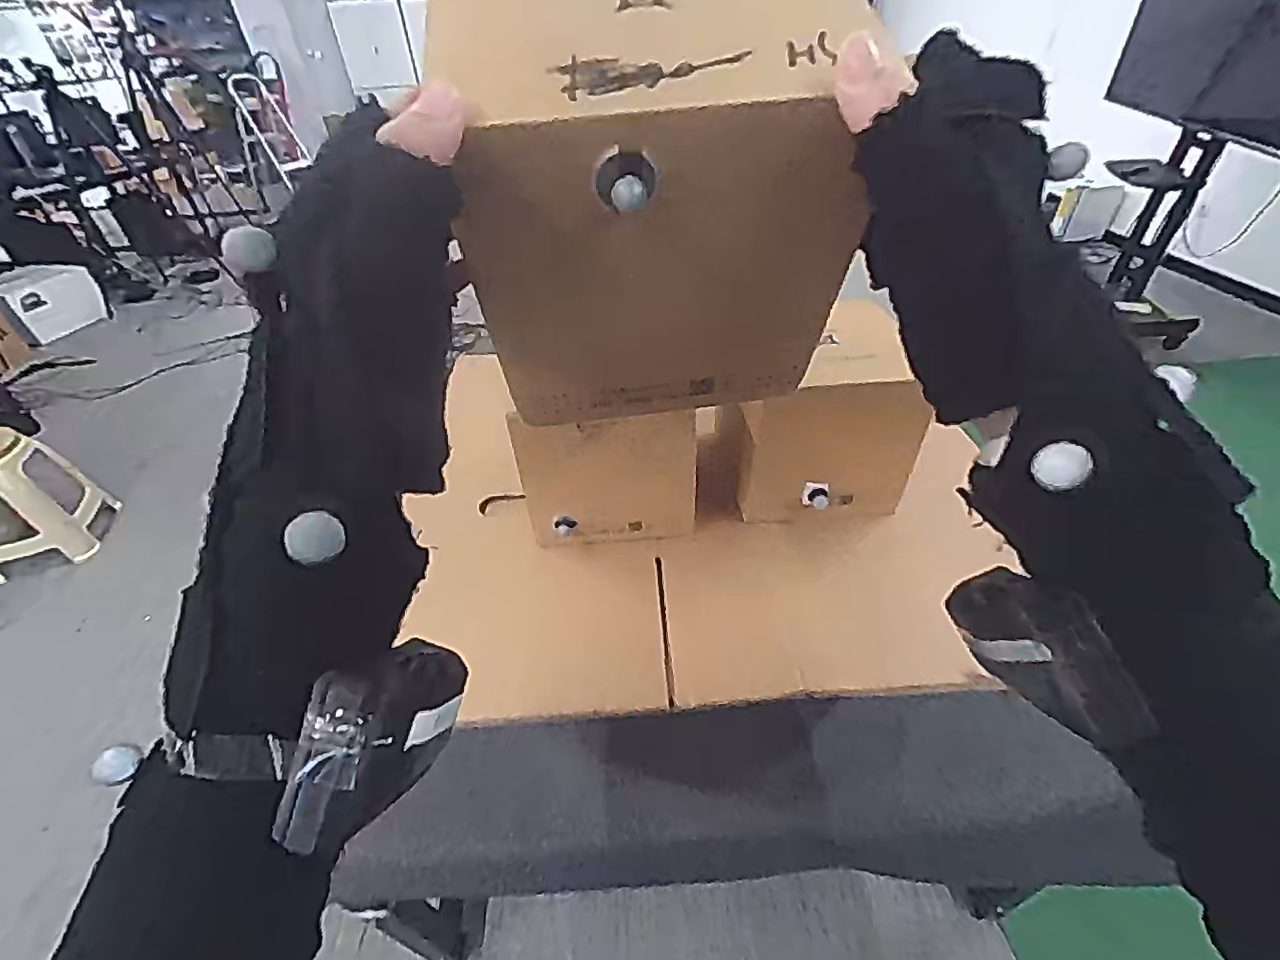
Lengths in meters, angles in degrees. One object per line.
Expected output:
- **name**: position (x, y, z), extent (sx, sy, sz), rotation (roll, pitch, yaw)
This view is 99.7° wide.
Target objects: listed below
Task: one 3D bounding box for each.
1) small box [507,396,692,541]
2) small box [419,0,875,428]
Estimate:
- **small box**: position (-0.034, -0.046, 0.583), extent (0.168, 0.176, 0.179), rotation (-4, 40, -1)
- **small box**: position (-0.005, -0.152, 0.301), extent (0.168, 0.176, 0.179), rotation (-7, 60, -3)
